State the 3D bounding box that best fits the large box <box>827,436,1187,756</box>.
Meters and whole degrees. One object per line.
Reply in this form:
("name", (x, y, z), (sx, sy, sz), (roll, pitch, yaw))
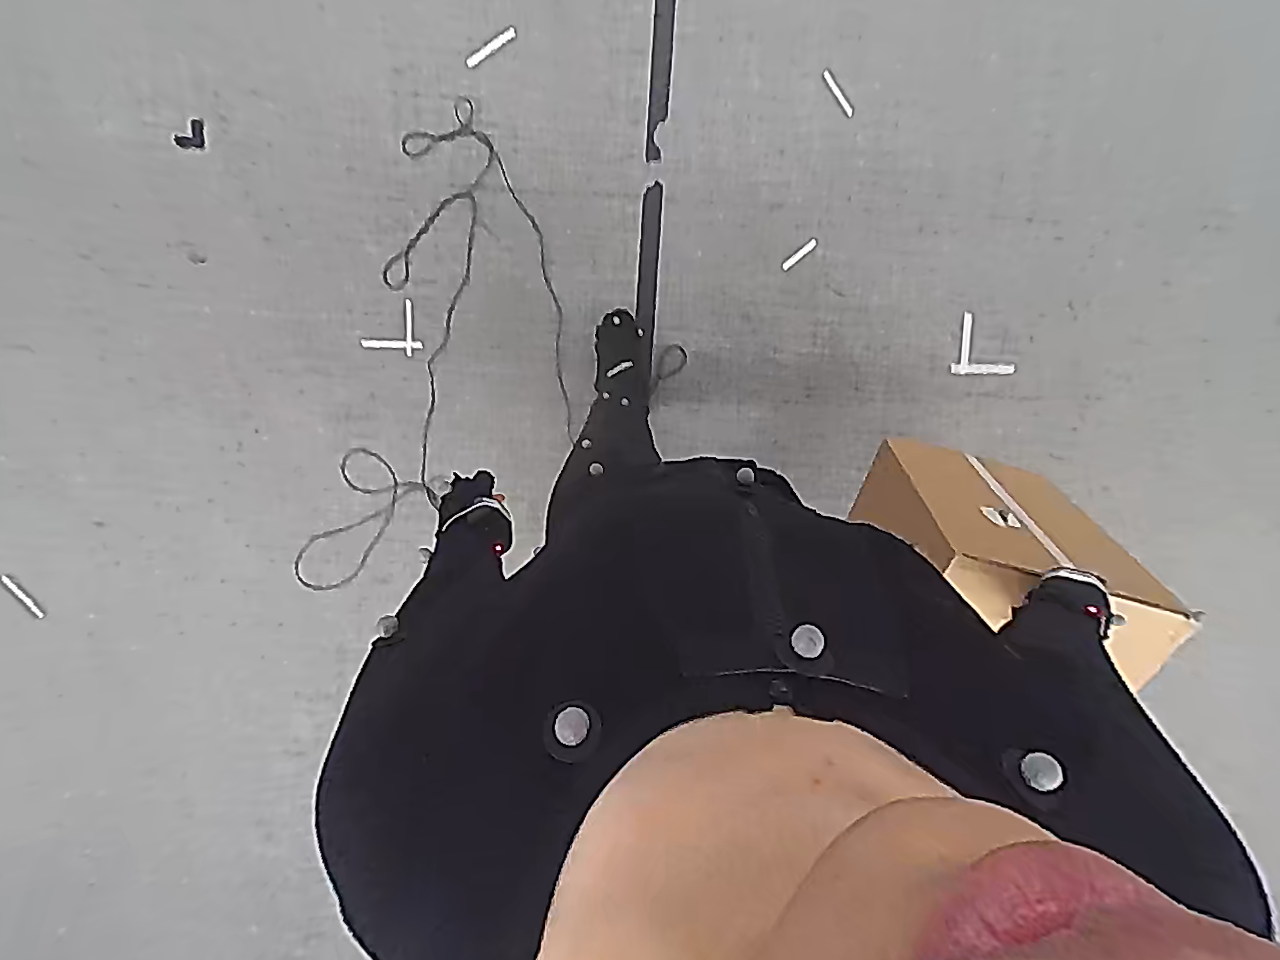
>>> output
("large box", (0.554, 0.173, 0.941), (0.320, 0.408, 0.320), (15, 119, 3))
